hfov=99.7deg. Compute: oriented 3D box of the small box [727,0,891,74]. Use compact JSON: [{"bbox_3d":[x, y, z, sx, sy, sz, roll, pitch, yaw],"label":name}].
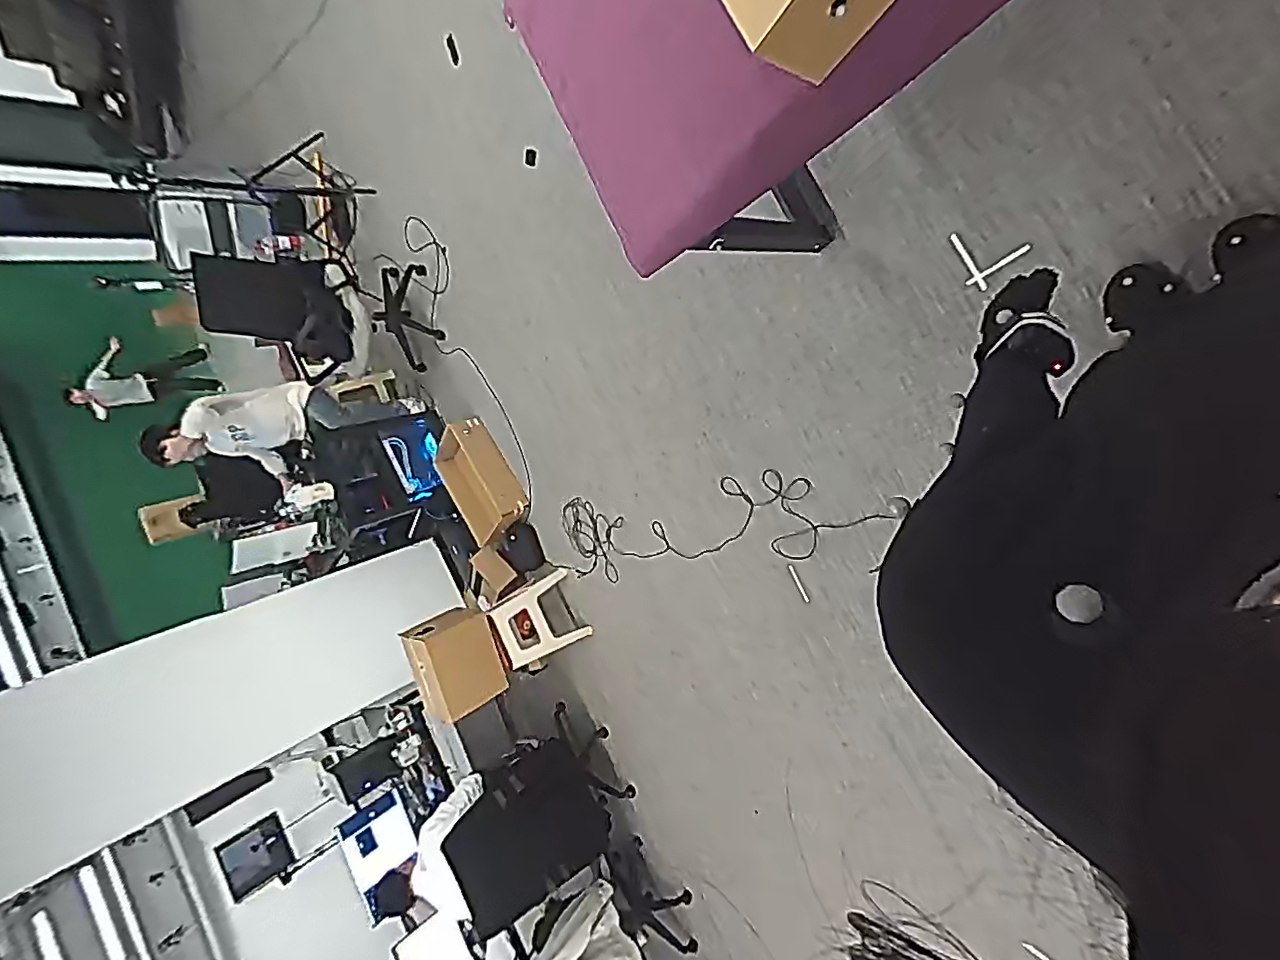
[{"bbox_3d":[0.200,-0.618,0.616,0.179,0.176,0.168,-33,80,48],"label":"small box"}]
